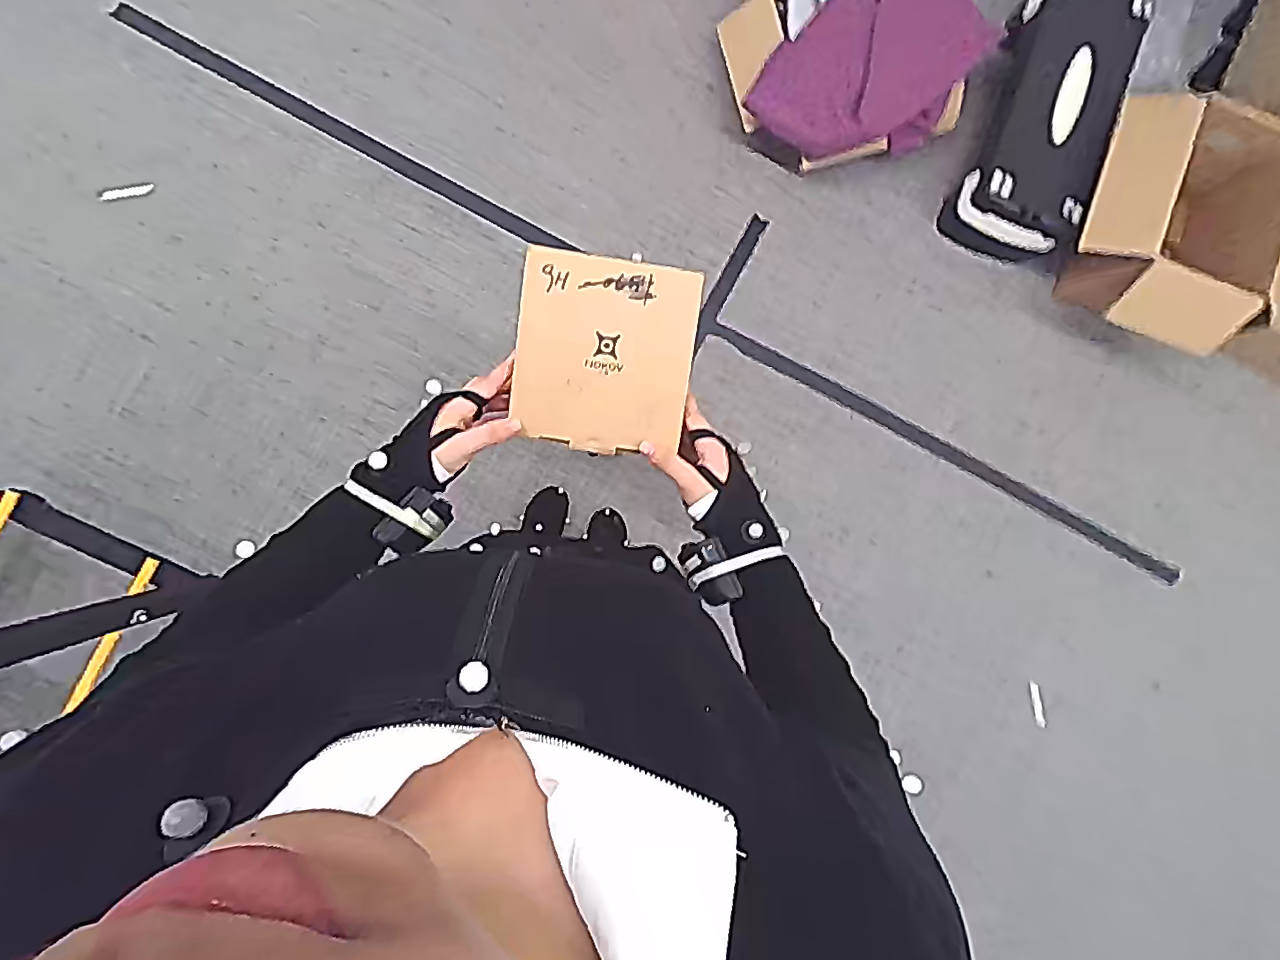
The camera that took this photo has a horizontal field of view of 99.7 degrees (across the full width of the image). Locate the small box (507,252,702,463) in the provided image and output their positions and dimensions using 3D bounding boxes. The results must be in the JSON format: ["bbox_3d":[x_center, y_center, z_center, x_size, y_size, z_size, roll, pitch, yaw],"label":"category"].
[{"bbox_3d":[-0.038,-0.124,0.581,0.168,0.176,0.179,7,99,-4],"label":"small box"}]
